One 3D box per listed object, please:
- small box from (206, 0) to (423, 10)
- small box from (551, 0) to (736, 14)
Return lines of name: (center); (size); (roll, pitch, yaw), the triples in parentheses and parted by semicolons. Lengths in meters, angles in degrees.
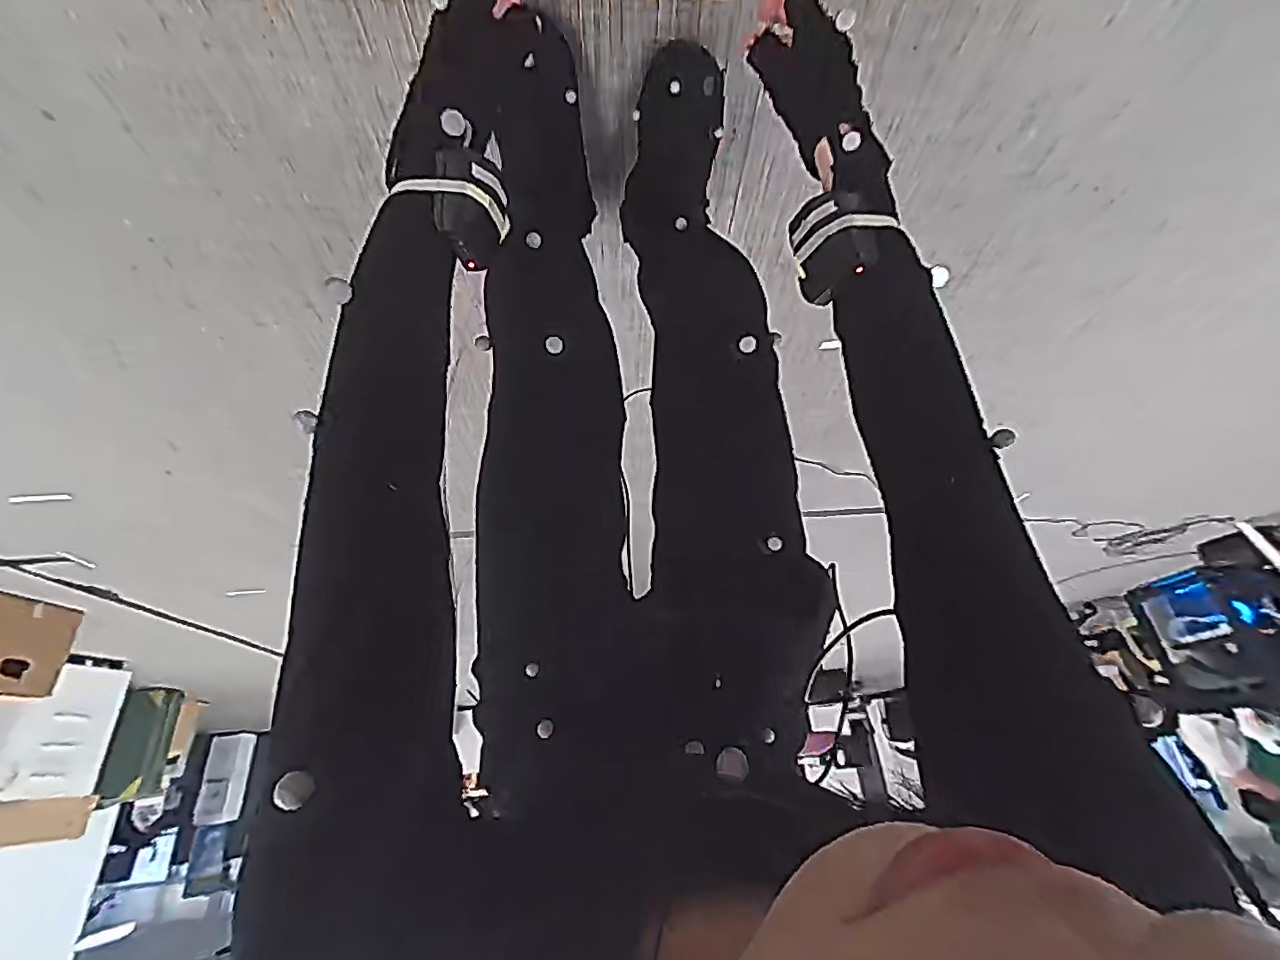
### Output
small box: (-0.272, -0.500, 0.412); (0.179, 0.176, 0.168); (-5, 151, -3)
small box: (0.001, -0.517, 0.428); (0.168, 0.176, 0.179); (-2, 152, -6)
